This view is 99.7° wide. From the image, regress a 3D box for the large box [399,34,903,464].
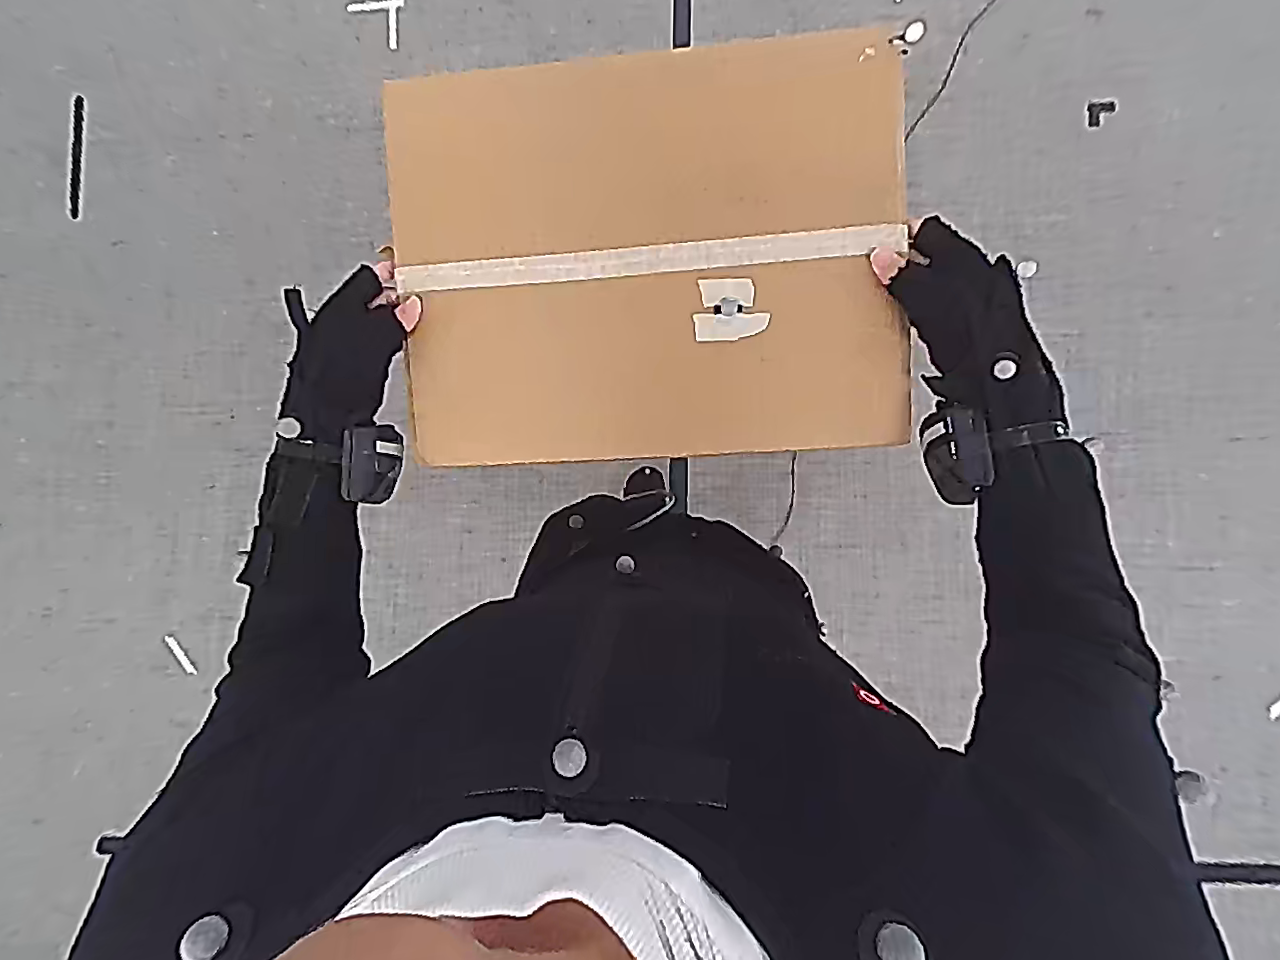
[{"bbox_3d":[0.015,-0.191,0.591,0.408,0.320,0.320,-3,95,4],"label":"large box"}]
